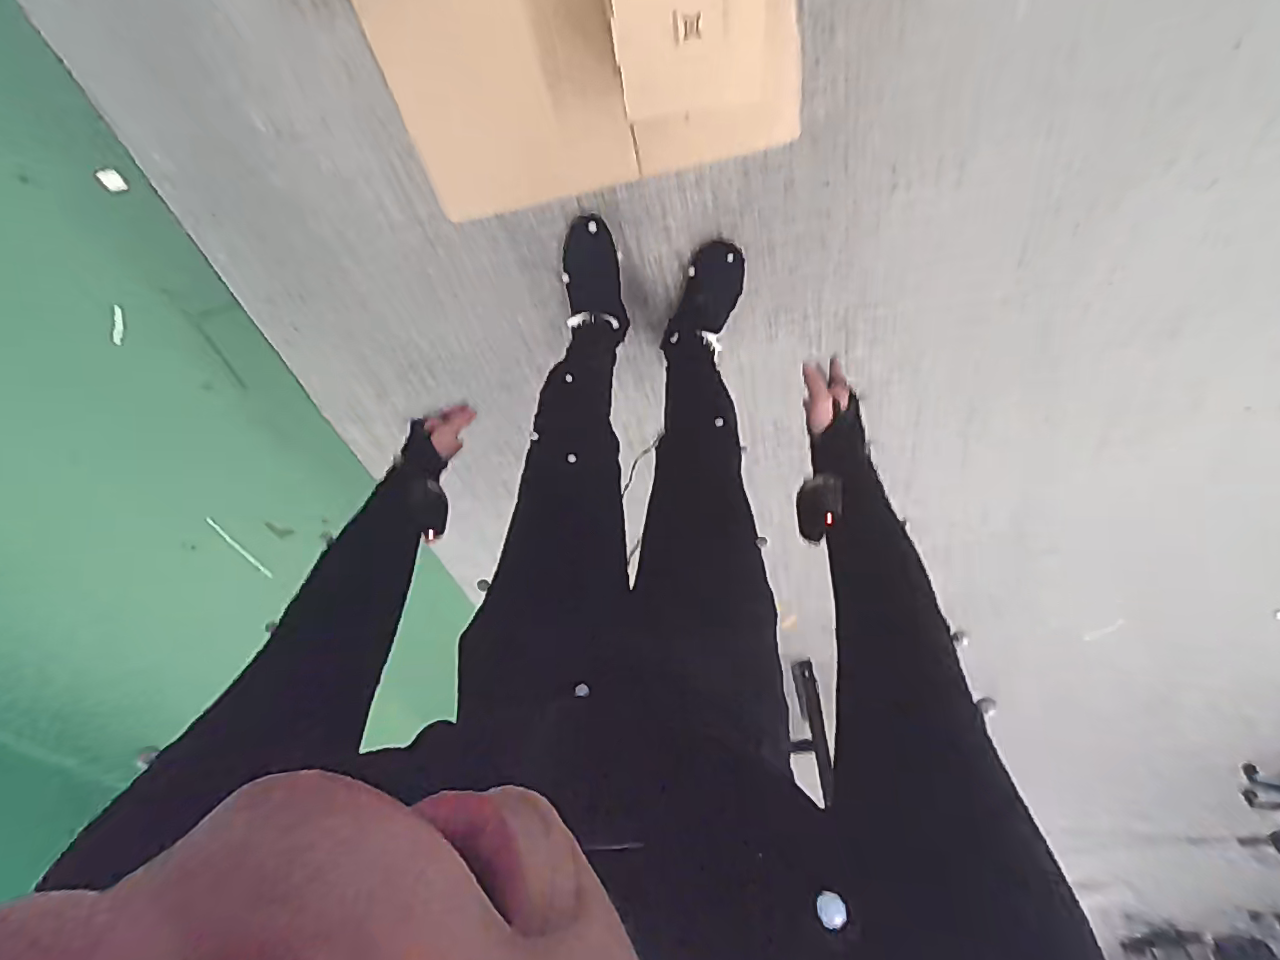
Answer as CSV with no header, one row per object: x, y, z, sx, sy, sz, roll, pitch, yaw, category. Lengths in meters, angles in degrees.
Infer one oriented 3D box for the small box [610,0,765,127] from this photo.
0.062,-0.568,0.688,0.179,0.176,0.168,-4,132,7,small box
